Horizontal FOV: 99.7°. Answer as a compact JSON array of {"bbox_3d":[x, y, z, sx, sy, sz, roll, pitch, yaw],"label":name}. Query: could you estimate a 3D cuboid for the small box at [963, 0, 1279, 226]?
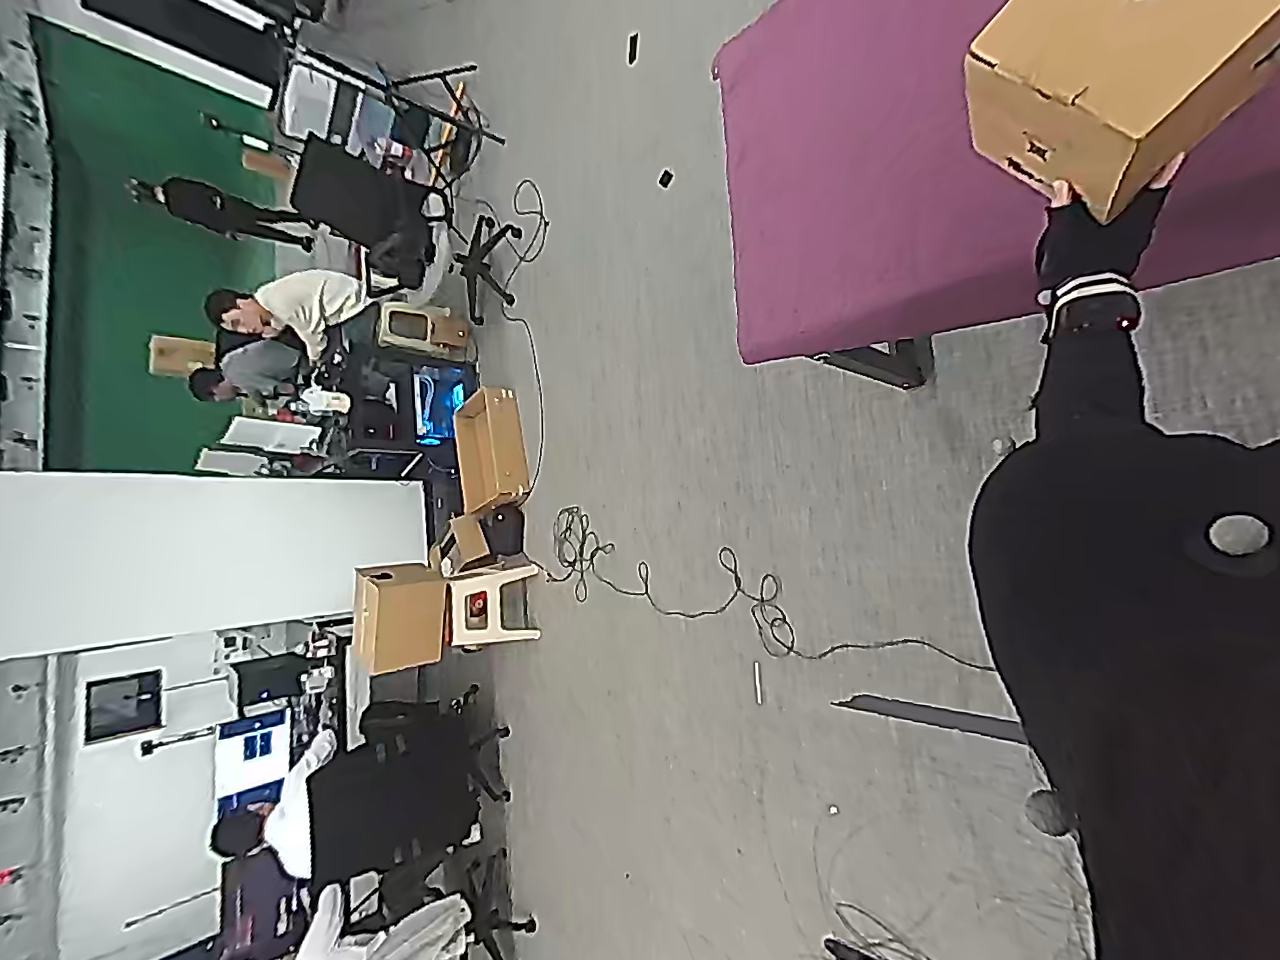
[{"bbox_3d":[0.413,-0.363,0.459,0.176,0.179,0.168,-48,66,26],"label":"small box"}]
